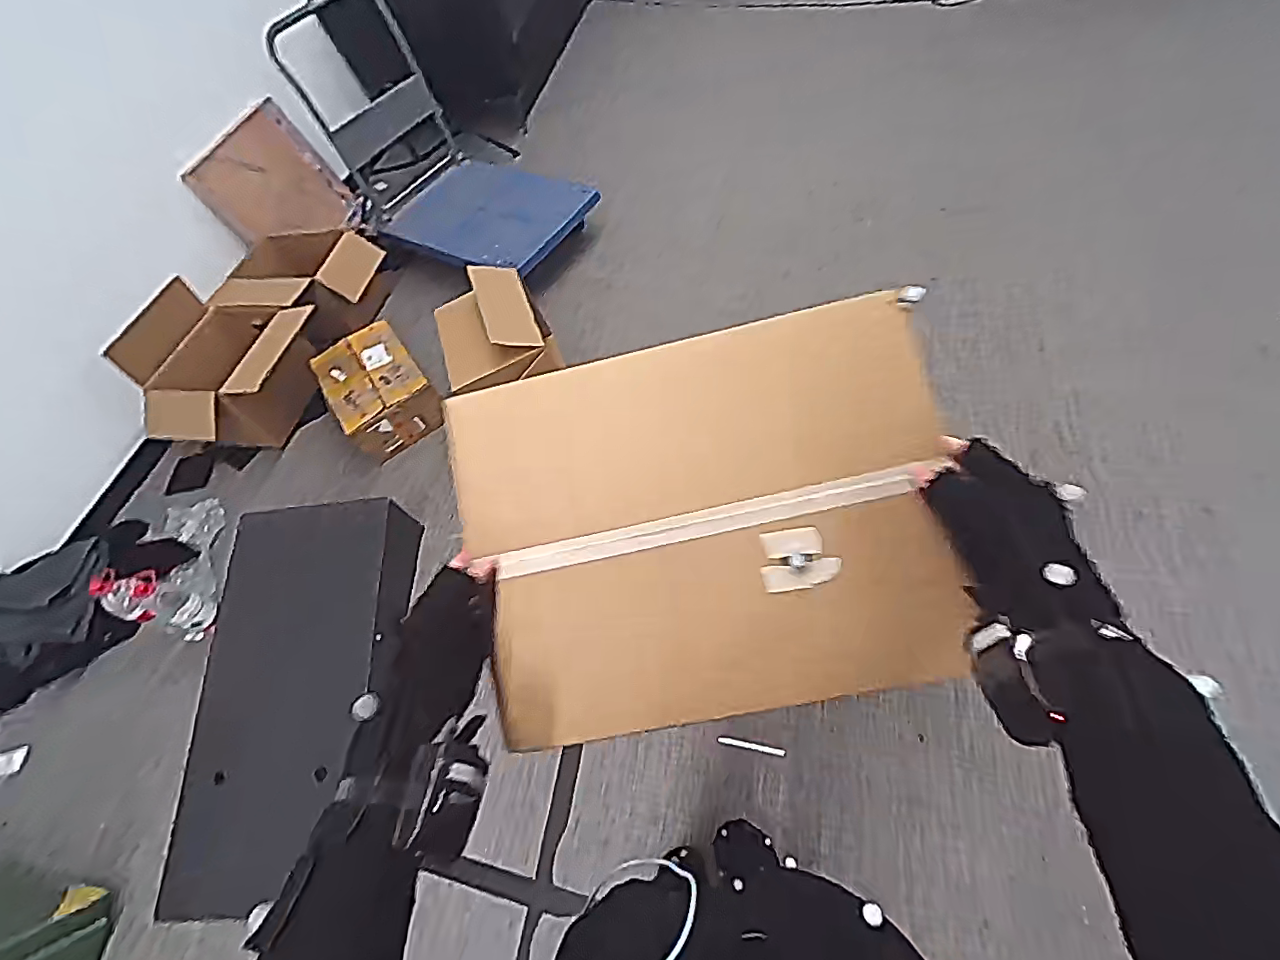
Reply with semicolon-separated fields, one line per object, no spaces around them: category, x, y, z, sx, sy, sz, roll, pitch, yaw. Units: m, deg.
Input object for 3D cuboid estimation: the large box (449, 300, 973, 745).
large box;0.059;0.053;0.615;0.408;0.320;0.320;-13;83;5
